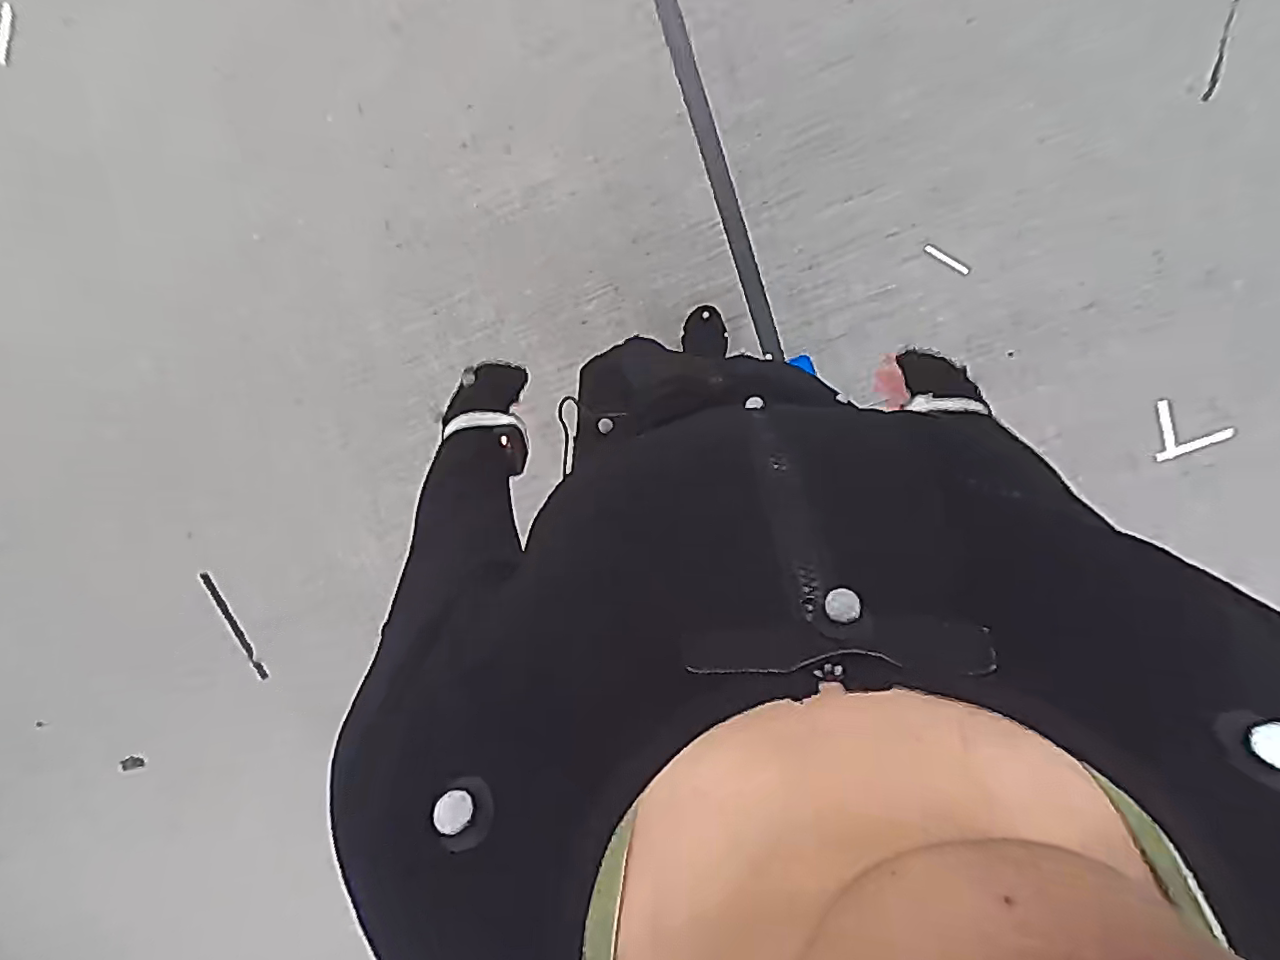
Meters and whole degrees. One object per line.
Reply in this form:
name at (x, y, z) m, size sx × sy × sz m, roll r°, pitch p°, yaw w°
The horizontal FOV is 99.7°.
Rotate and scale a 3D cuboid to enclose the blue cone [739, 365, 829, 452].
blue cone at (0.365, -0.136, 1.233) m, size 0.192 × 0.380 × 0.193 m, roll -25°, pitch 104°, yaw 10°
